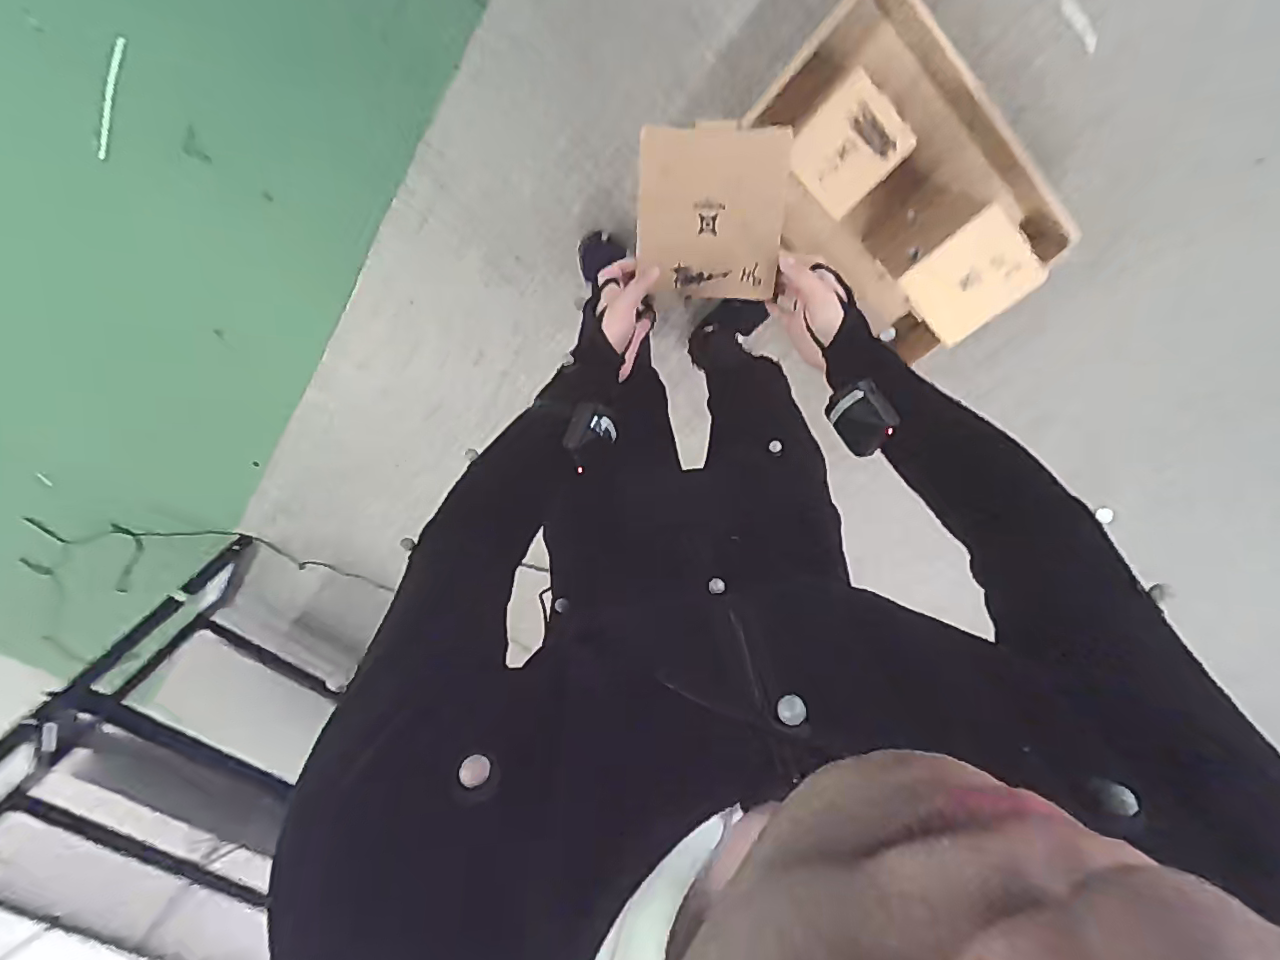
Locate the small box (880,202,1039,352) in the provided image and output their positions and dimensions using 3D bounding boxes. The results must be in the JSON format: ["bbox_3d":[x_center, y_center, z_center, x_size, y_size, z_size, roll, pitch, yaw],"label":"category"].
[{"bbox_3d":[0.562,-0.371,0.981,0.168,0.176,0.179,42,120,-17],"label":"small box"}]

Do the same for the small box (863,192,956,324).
[{"bbox_3d":[0.584,-0.461,1.118,0.168,0.176,0.179,41,121,-17],"label":"small box"}]

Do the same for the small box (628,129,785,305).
[{"bbox_3d":[0.077,-0.321,0.684,0.168,0.176,0.179,4,112,5],"label":"small box"}]
